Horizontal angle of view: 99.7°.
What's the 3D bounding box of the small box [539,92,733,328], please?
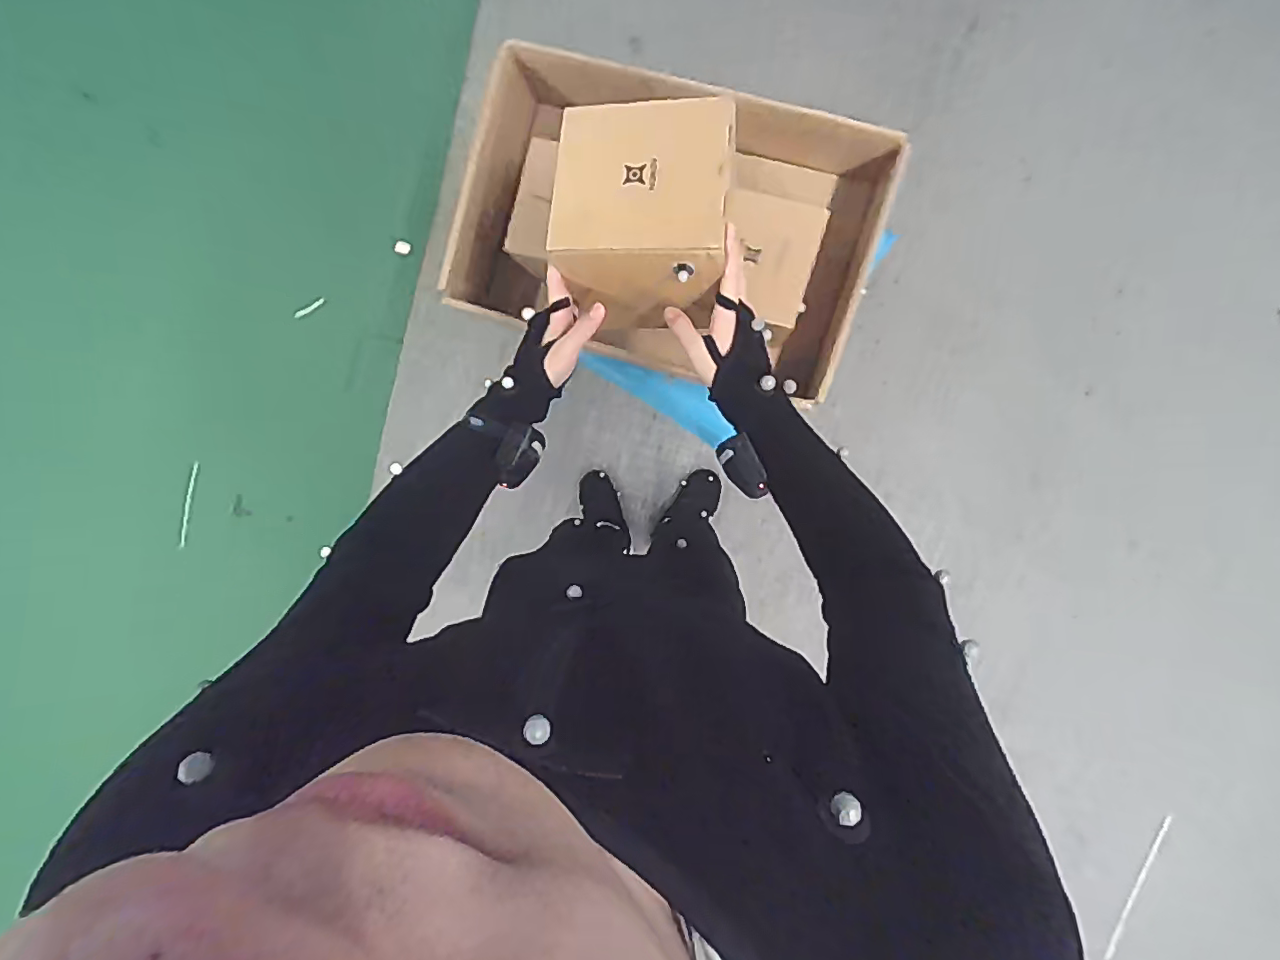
[{"bbox_3d":[0.008,-0.279,0.593,0.179,0.176,0.168,3,80,10],"label":"small box"}]
